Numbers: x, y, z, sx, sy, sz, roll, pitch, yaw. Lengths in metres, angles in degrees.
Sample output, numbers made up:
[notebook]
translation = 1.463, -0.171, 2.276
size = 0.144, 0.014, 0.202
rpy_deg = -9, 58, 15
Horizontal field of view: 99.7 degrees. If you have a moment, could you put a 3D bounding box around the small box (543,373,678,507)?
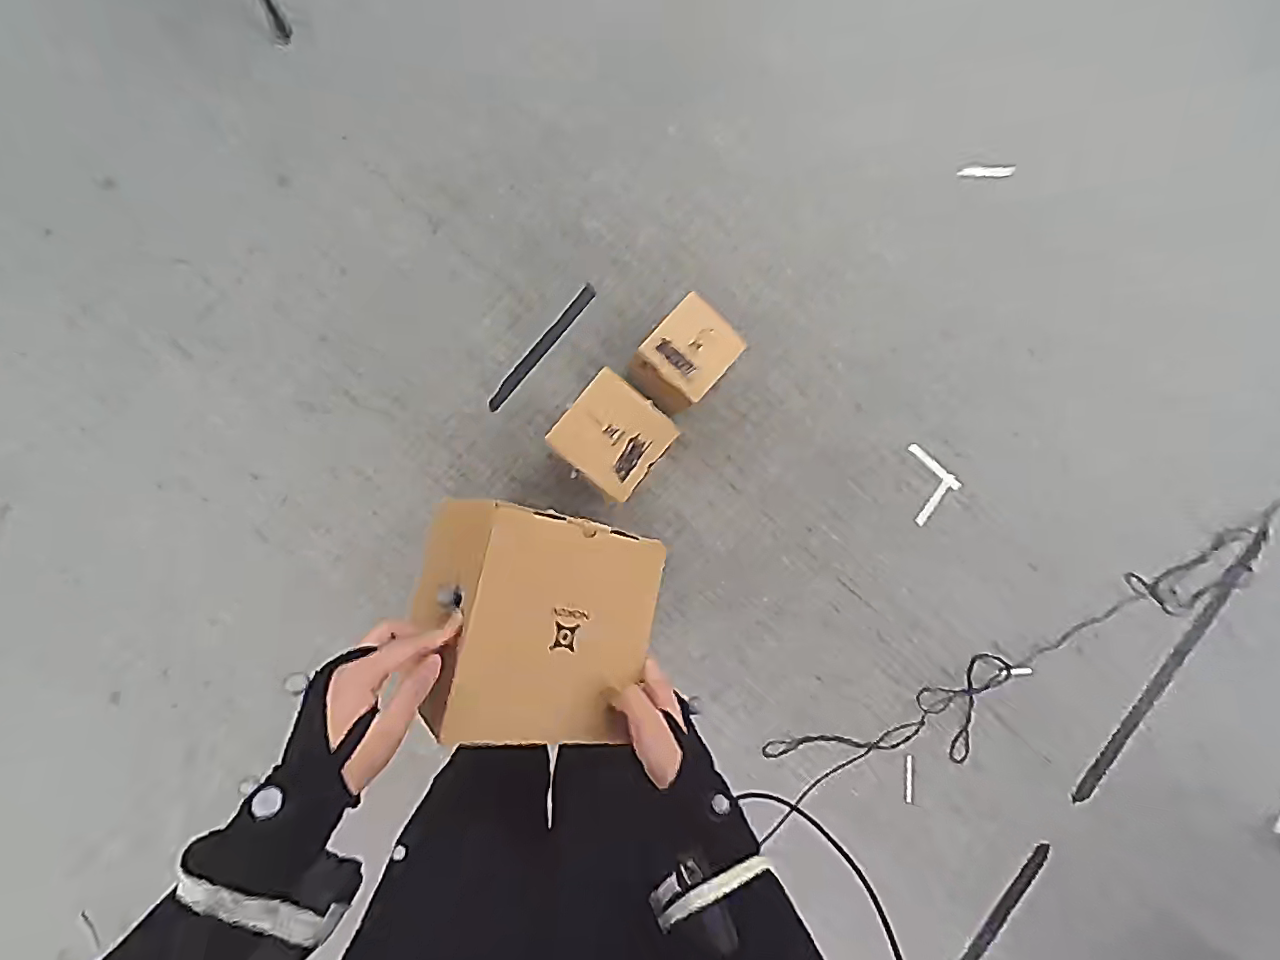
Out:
[small box]
translation = -0.060, -0.069, 1.004
size = 0.179, 0.176, 0.168
rpy_deg = 40, 83, -6
